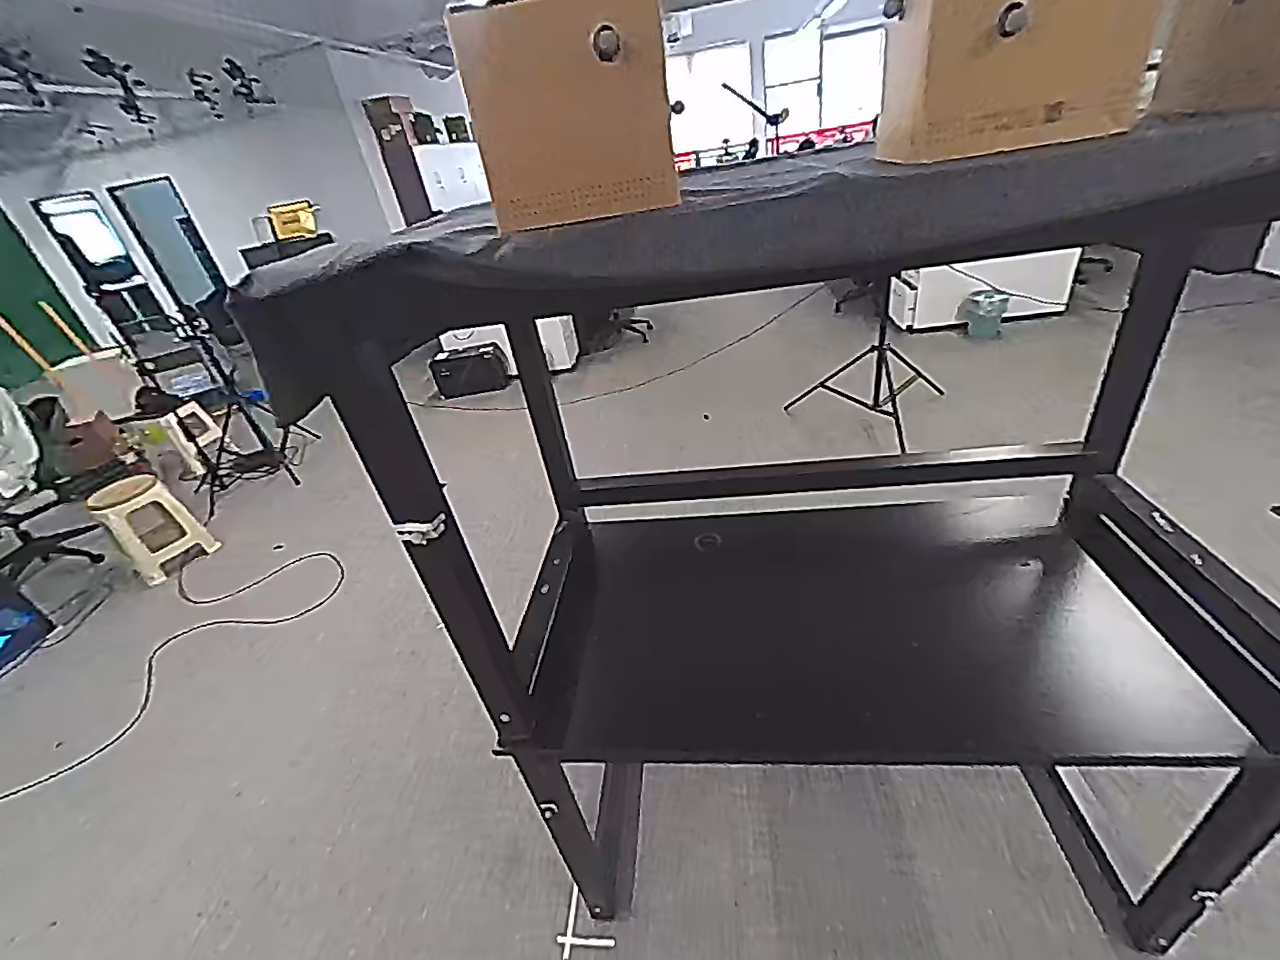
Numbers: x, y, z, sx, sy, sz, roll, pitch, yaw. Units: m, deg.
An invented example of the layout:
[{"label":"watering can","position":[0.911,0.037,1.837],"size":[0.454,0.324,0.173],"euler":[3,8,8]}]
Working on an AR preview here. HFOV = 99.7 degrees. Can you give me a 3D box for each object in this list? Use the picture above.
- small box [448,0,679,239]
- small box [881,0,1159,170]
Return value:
[{"label":"small box","position":[-0.054,-0.348,0.532],"size":[0.179,0.176,0.168],"euler":[-7,30,6]},{"label":"small box","position":[0.325,-0.388,0.488],"size":[0.168,0.176,0.179],"euler":[-3,31,12]}]
